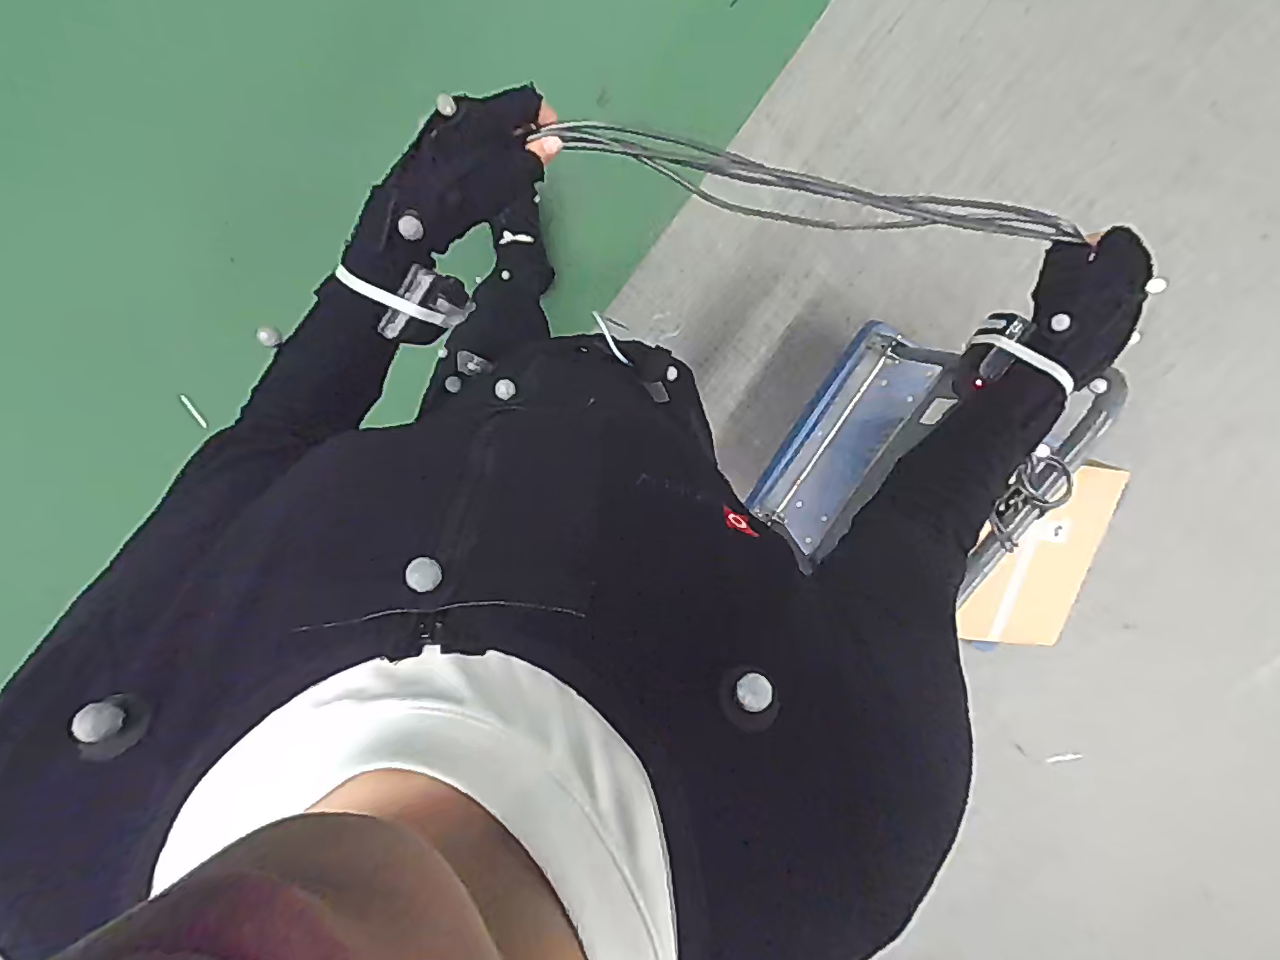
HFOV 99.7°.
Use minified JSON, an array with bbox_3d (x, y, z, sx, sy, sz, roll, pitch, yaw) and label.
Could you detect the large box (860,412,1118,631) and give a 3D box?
[{"bbox_3d":[0.762,0.084,1.253,0.320,0.320,0.408,7,107,-6],"label":"large box"}]
